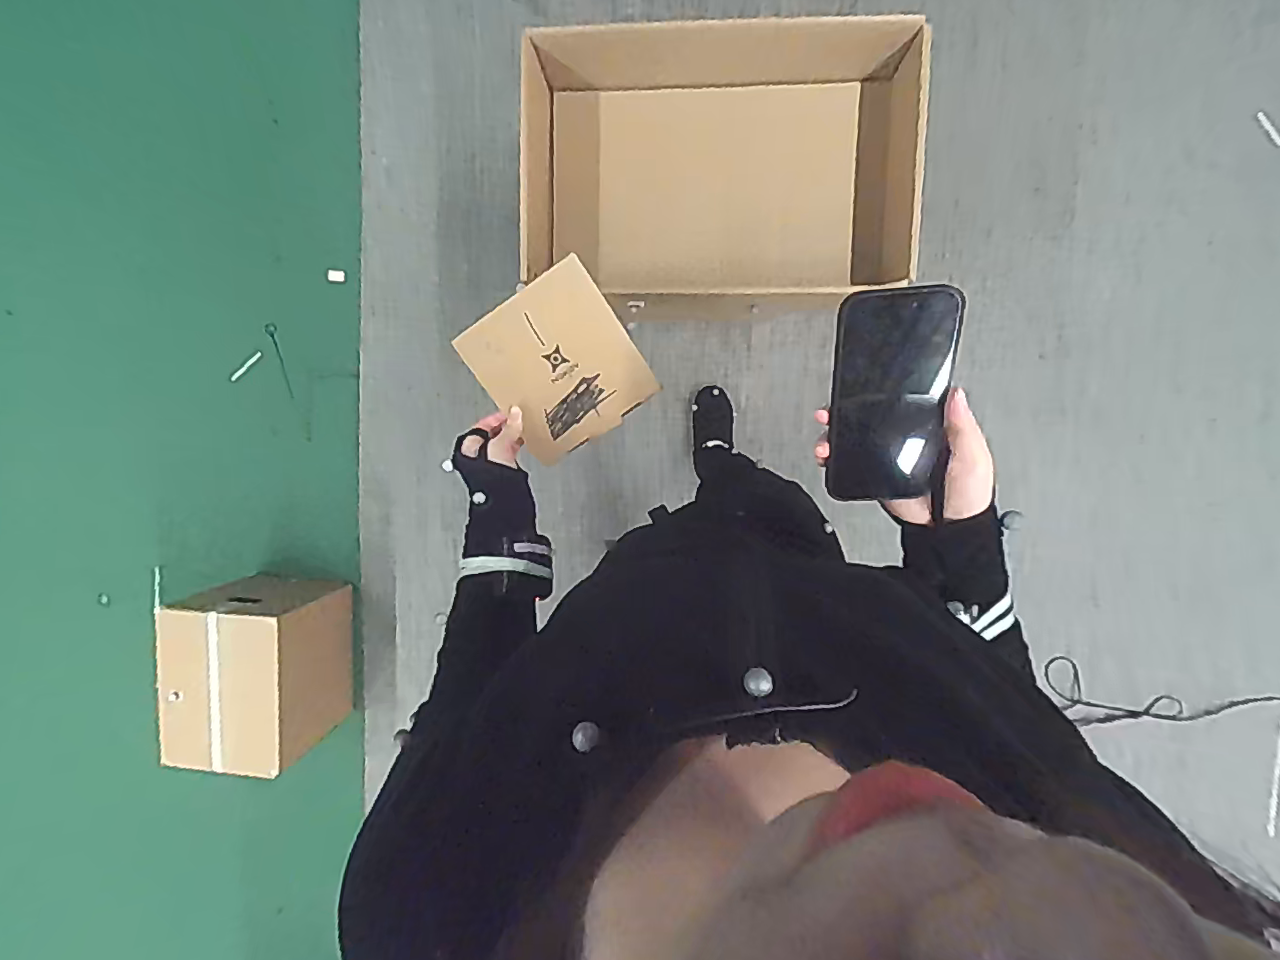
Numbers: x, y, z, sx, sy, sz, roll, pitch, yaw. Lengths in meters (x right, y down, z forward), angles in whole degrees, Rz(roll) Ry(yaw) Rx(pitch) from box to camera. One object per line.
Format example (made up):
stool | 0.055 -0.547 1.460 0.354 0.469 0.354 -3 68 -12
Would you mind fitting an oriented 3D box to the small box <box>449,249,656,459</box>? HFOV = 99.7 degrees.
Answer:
small box | -0.099 -0.157 0.673 0.168 0.176 0.179 -34 106 5
